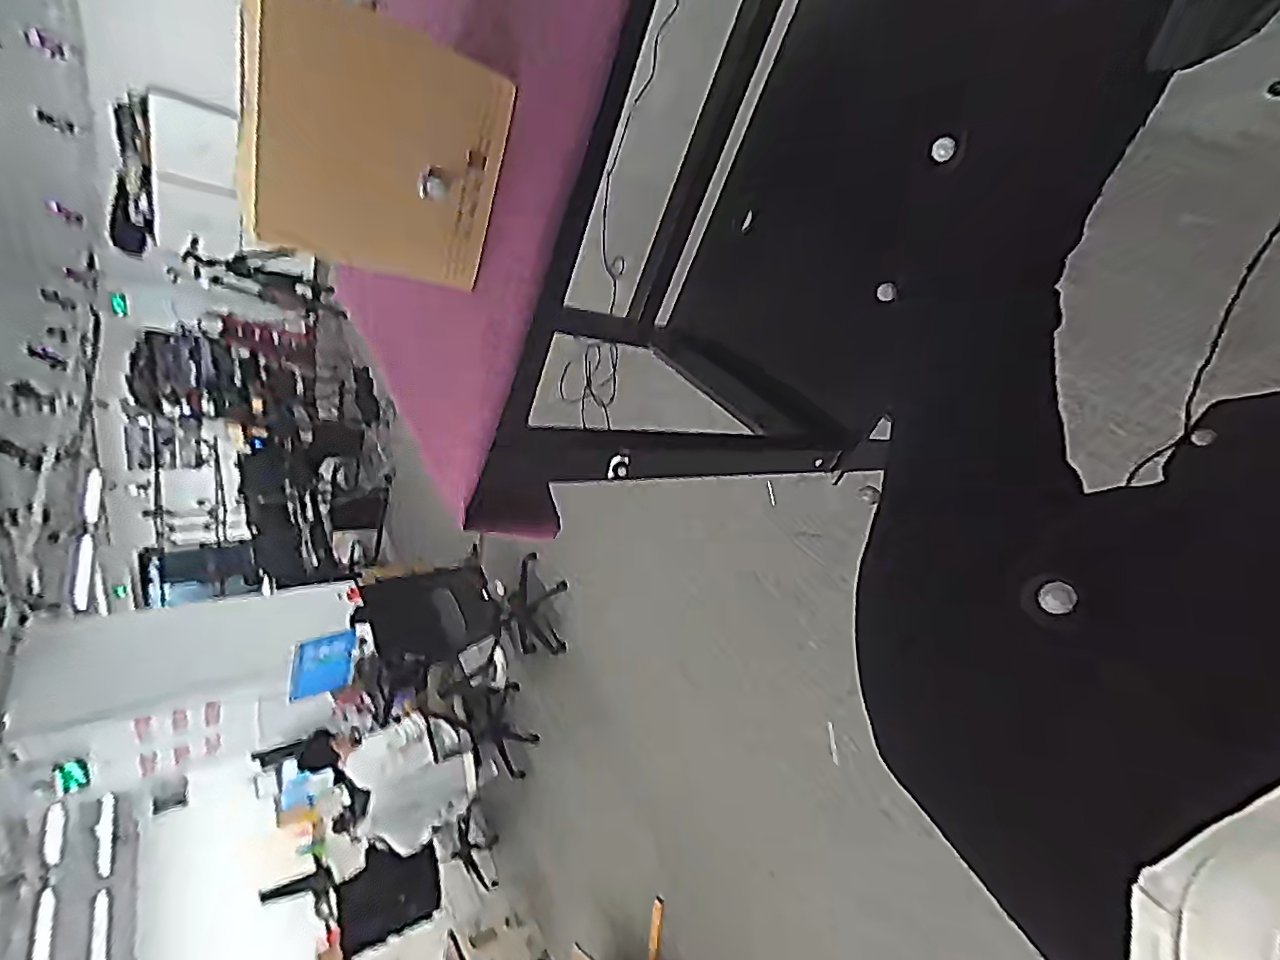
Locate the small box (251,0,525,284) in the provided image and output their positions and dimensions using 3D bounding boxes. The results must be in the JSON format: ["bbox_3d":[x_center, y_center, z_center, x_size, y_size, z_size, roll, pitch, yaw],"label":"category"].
[{"bbox_3d":[-0.223,-0.287,0.467,0.179,0.176,0.168,47,125,39],"label":"small box"}]
